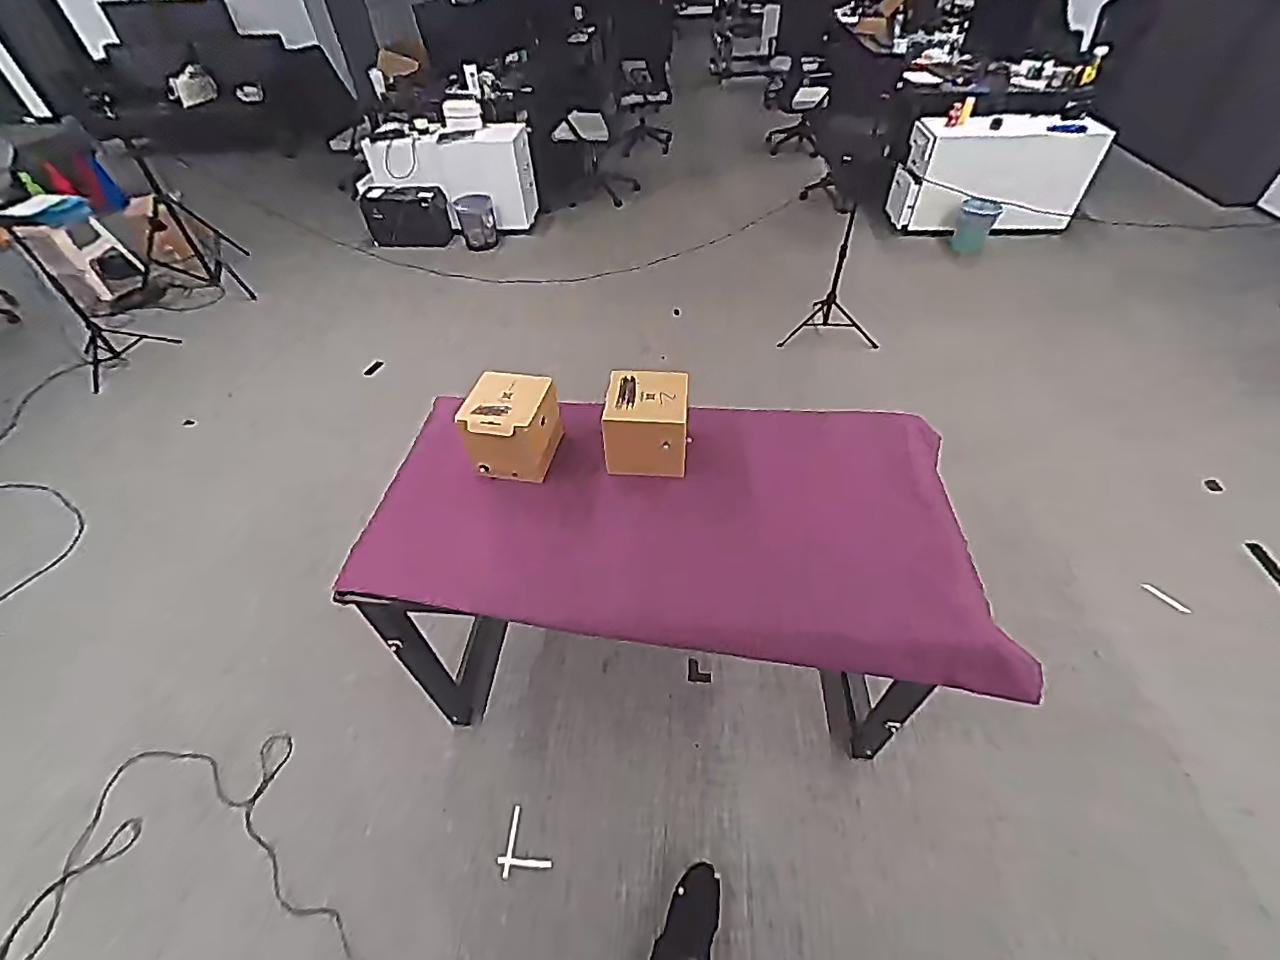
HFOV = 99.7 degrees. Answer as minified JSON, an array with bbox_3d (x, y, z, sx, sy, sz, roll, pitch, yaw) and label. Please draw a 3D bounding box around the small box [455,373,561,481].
[{"bbox_3d":[-0.284,-0.117,1.217,0.168,0.176,0.179,7,48,9],"label":"small box"}]
